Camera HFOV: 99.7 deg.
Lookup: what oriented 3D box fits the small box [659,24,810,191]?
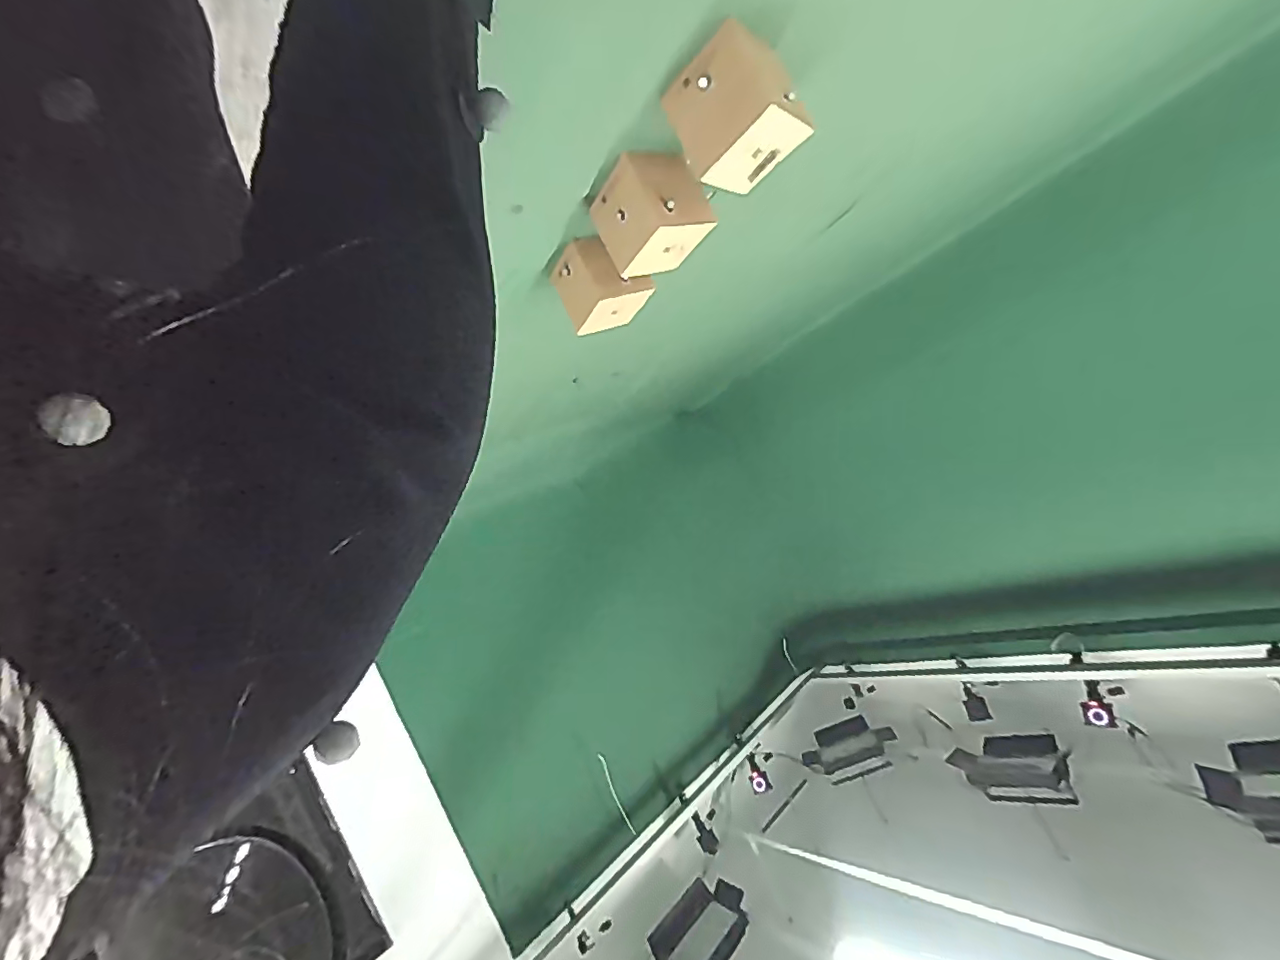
[{"bbox_3d":[0.169,-0.661,0.975,0.168,0.176,0.179,-33,173,41],"label":"small box"}]

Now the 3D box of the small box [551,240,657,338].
[{"bbox_3d":[-0.095,-0.491,1.371,0.179,0.176,0.168,-27,176,-33],"label":"small box"}]

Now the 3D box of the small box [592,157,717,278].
[{"bbox_3d":[0.024,-0.568,1.167,0.179,0.176,0.168,-26,177,-36],"label":"small box"}]
